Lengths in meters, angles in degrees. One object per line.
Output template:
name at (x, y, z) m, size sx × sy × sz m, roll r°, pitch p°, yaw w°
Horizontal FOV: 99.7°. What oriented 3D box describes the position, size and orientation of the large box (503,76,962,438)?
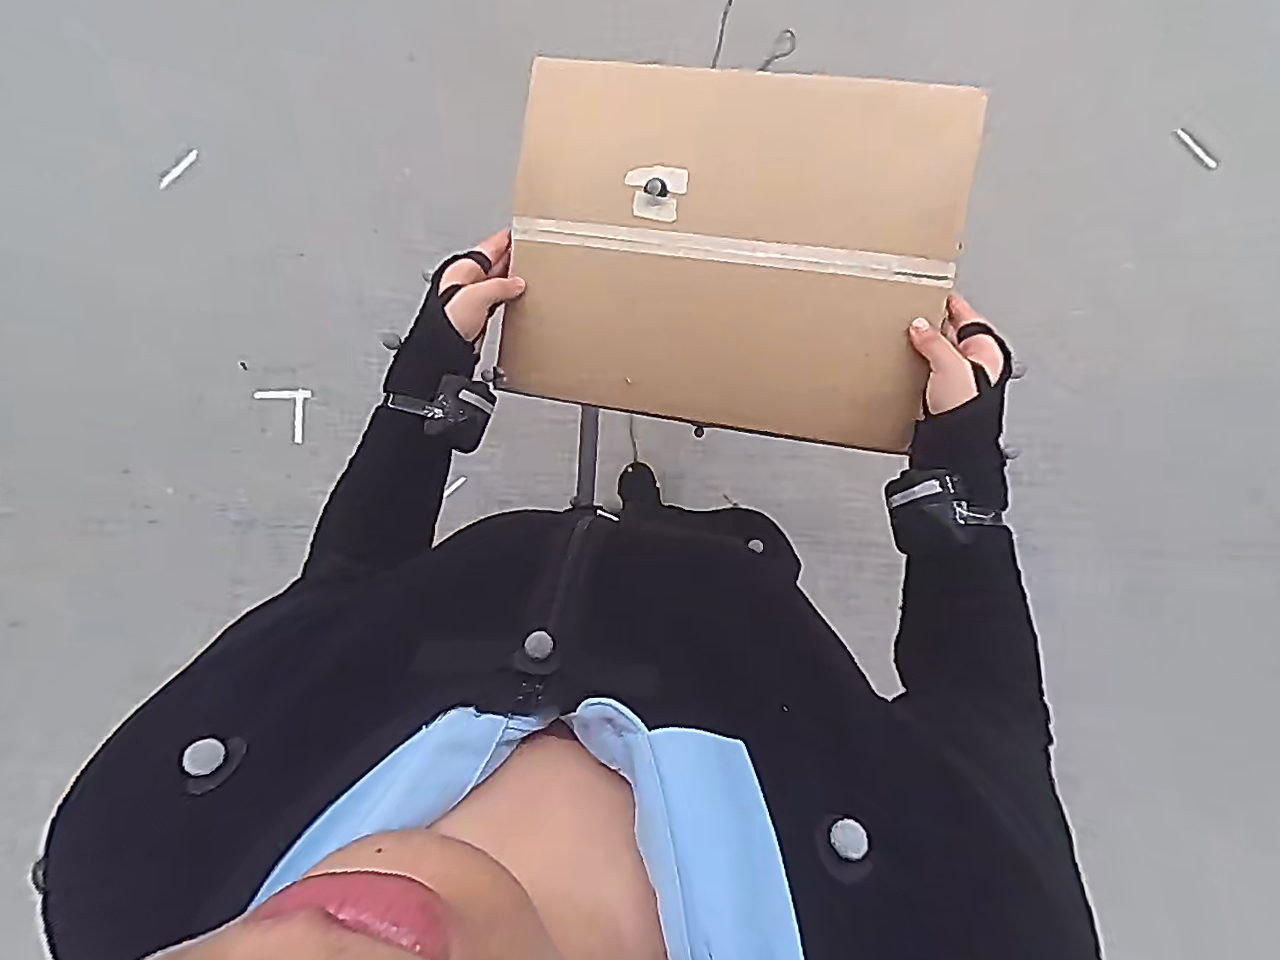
large box at (0.096, -0.230, 0.660) m, size 0.408 × 0.320 × 0.320 m, roll 9°, pitch 95°, yaw 8°
